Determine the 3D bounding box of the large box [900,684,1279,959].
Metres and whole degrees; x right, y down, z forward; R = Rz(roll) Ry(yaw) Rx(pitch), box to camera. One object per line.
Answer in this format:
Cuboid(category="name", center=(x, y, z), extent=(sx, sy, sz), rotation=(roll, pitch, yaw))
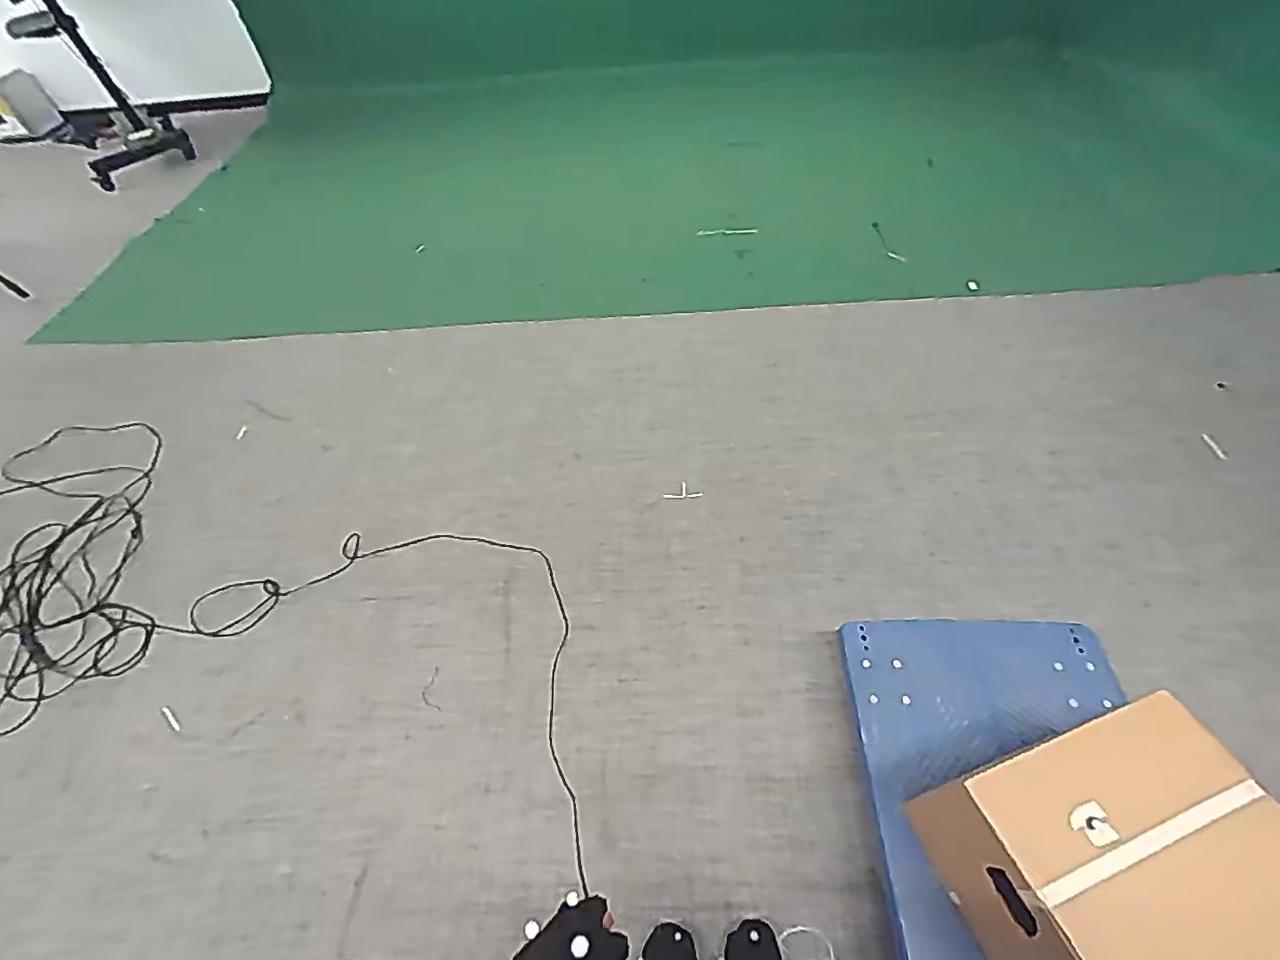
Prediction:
Cuboid(category="large box", center=(0.746, 0.605, 0.917), extent=(0.408, 0.320, 0.320), rotation=(-19, 54, -8))
